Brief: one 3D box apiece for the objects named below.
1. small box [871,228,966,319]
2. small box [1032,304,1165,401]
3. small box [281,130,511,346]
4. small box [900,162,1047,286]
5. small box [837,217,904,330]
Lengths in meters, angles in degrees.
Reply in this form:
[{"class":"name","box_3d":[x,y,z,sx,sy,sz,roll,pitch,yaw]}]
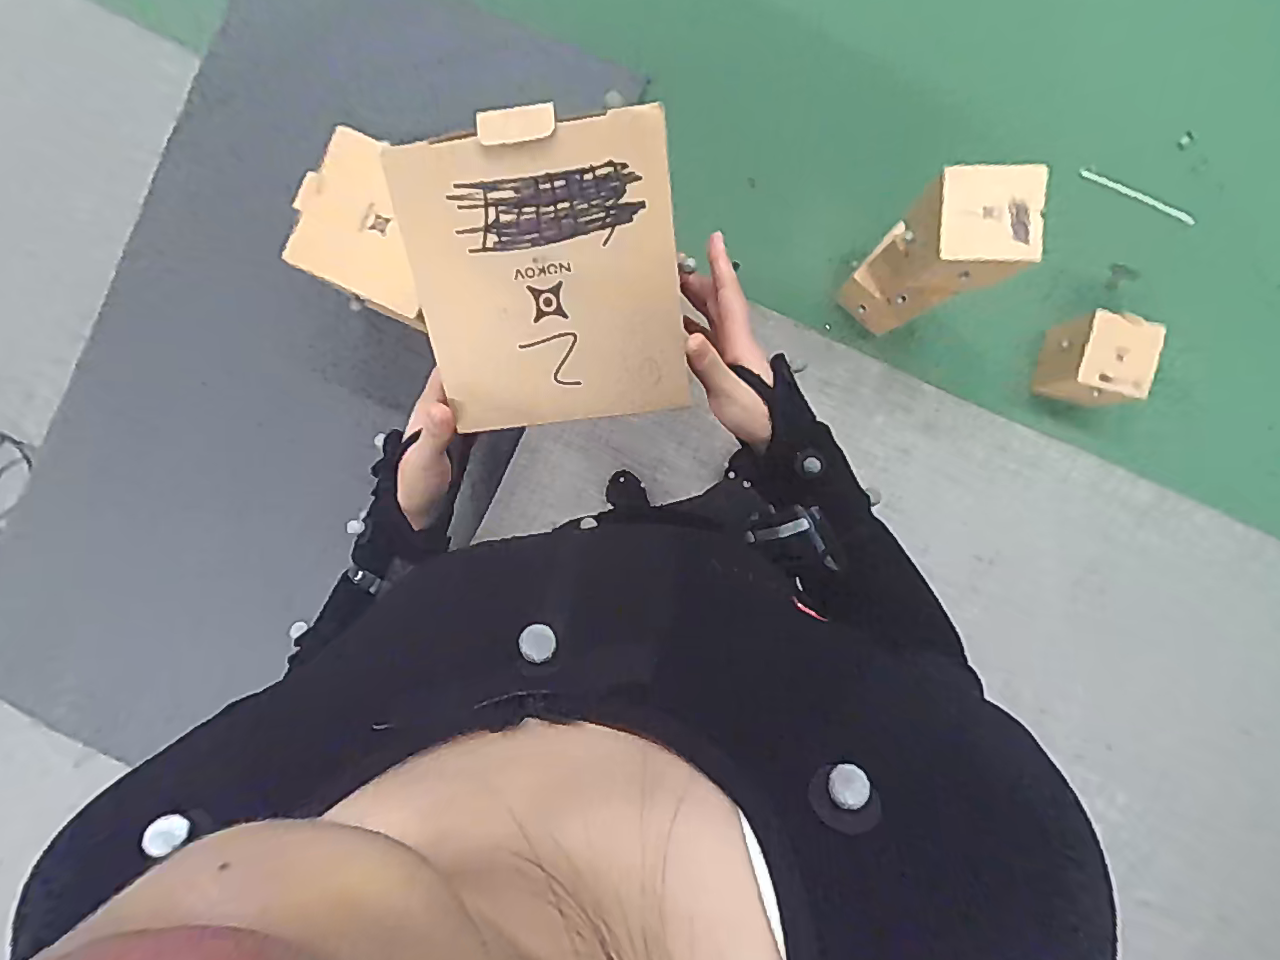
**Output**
[{"class":"small box","box_3d":[0.637,-0.479,1.189,0.179,0.176,0.168,-28,92,3]},{"class":"small box","box_3d":[1.117,-0.306,1.334,0.168,0.176,0.179,15,92,2]},{"class":"small box","box_3d":[-0.286,-0.282,0.676,0.179,0.176,0.168,24,93,4]},{"class":"small box","box_3d":[0.621,-0.476,1.025,0.179,0.176,0.168,2,93,4]},{"class":"small box","box_3d":[0.619,-0.504,1.351,0.168,0.176,0.179,41,93,0]}]
